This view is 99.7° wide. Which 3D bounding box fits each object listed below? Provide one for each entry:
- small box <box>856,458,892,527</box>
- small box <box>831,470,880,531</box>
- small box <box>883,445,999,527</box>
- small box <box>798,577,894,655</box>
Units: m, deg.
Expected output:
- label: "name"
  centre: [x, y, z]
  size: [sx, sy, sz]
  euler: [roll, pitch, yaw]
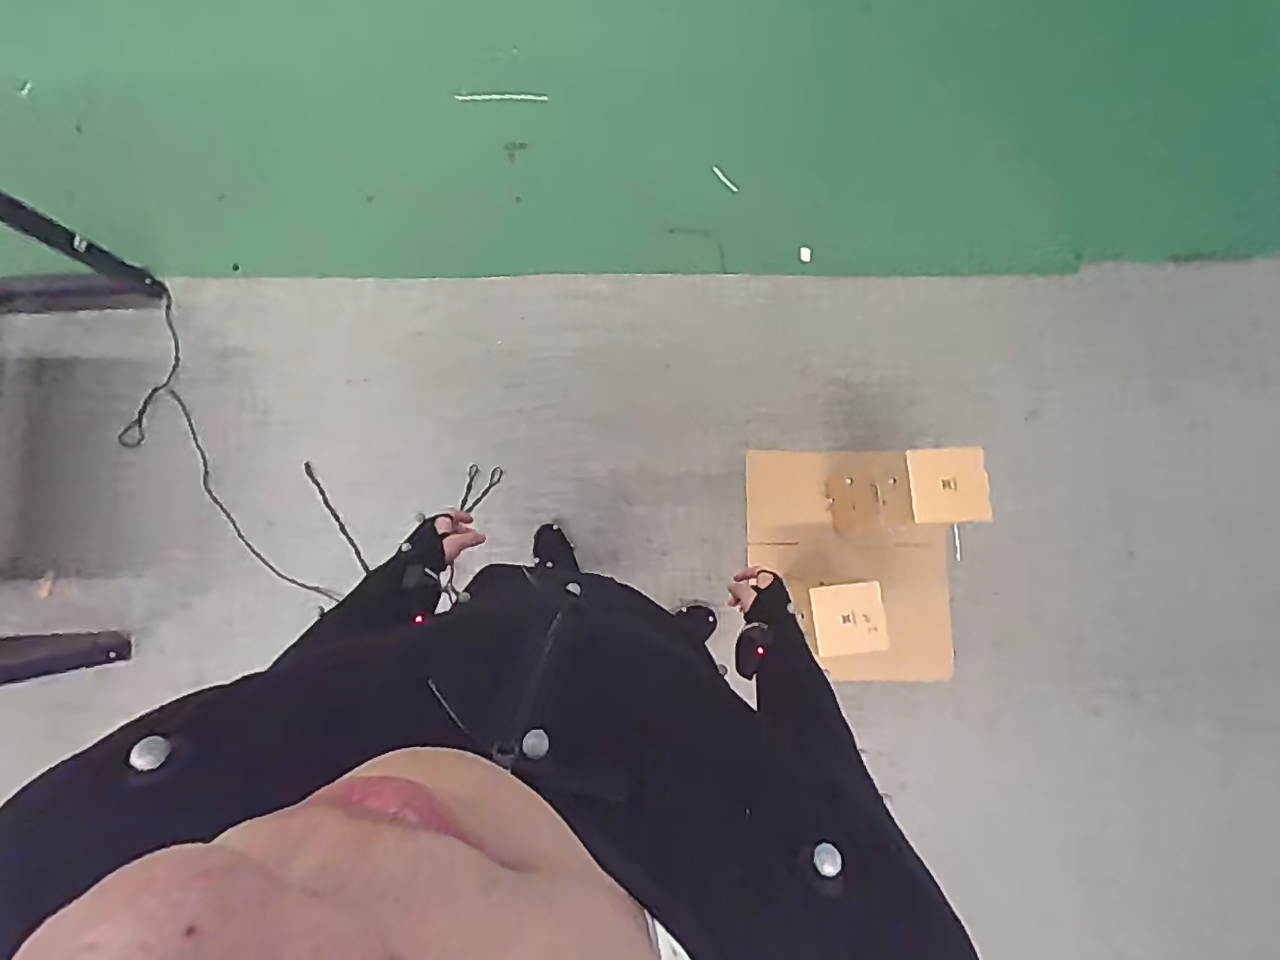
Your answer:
- label: "small box"
  centre: [0.680, 0.035, 1.411]
  size: [0.179, 0.176, 0.168]
  euler: [-3, 82, -1]
- label: "small box"
  centre: [0.679, 0.056, 1.573]
  size: [0.179, 0.176, 0.168]
  euler: [-7, 82, -1]
- label: "small box"
  centre: [0.682, 0.018, 1.250]
  size: [0.179, 0.176, 0.168]
  euler: [-3, 82, -1]
- label: "small box"
  centre: [0.509, 0.338, 1.366]
  size: [0.179, 0.176, 0.168]
  euler: [-6, 84, -1]
